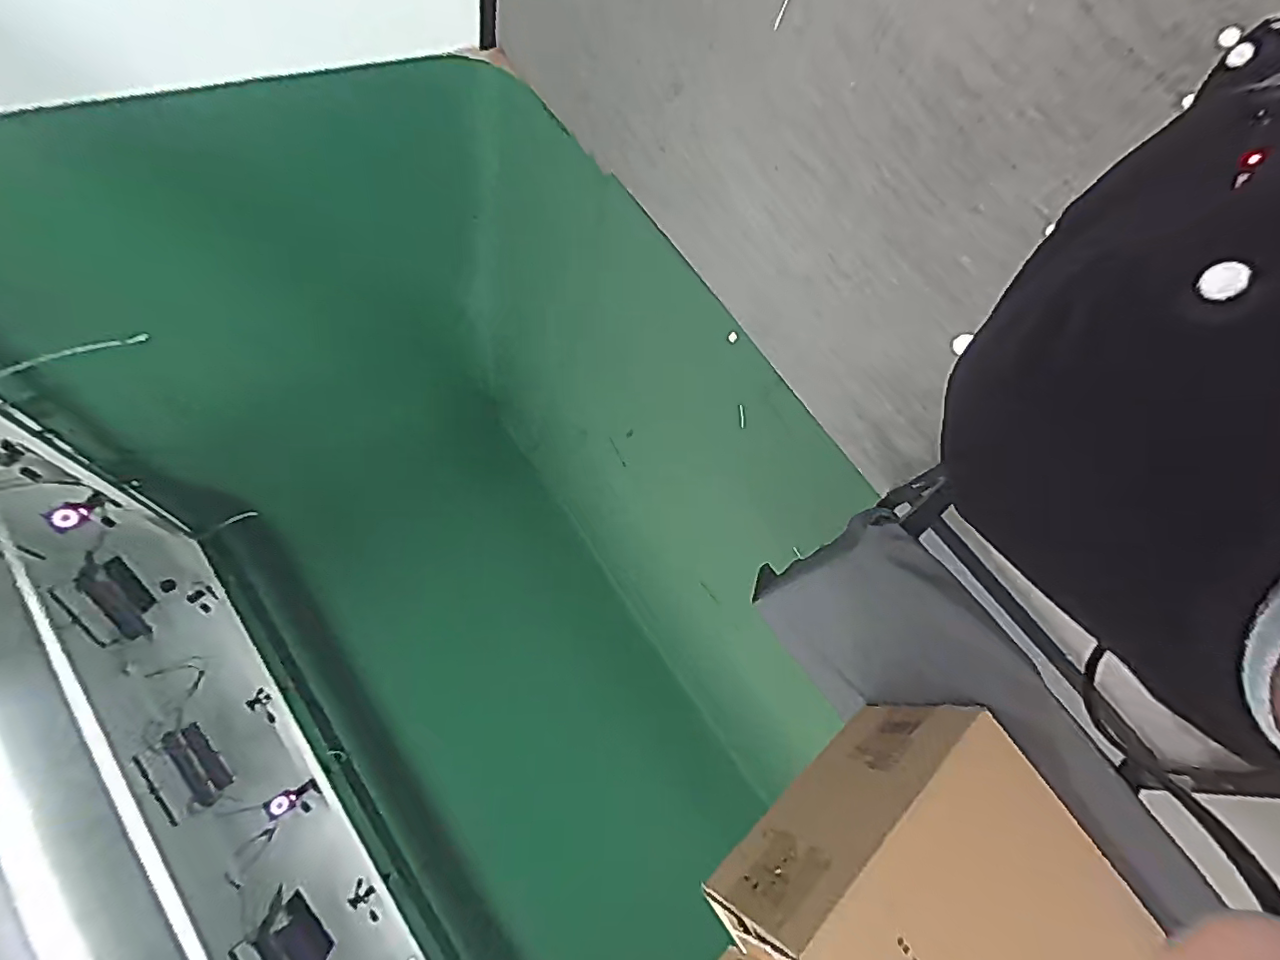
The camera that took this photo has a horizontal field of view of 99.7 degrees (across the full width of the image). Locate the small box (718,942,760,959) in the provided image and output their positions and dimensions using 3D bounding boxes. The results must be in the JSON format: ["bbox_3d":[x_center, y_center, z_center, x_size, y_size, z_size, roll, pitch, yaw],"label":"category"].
[{"bbox_3d":[0.200,0.986,0.952,0.179,0.176,0.168,54,147,8],"label":"small box"}]
